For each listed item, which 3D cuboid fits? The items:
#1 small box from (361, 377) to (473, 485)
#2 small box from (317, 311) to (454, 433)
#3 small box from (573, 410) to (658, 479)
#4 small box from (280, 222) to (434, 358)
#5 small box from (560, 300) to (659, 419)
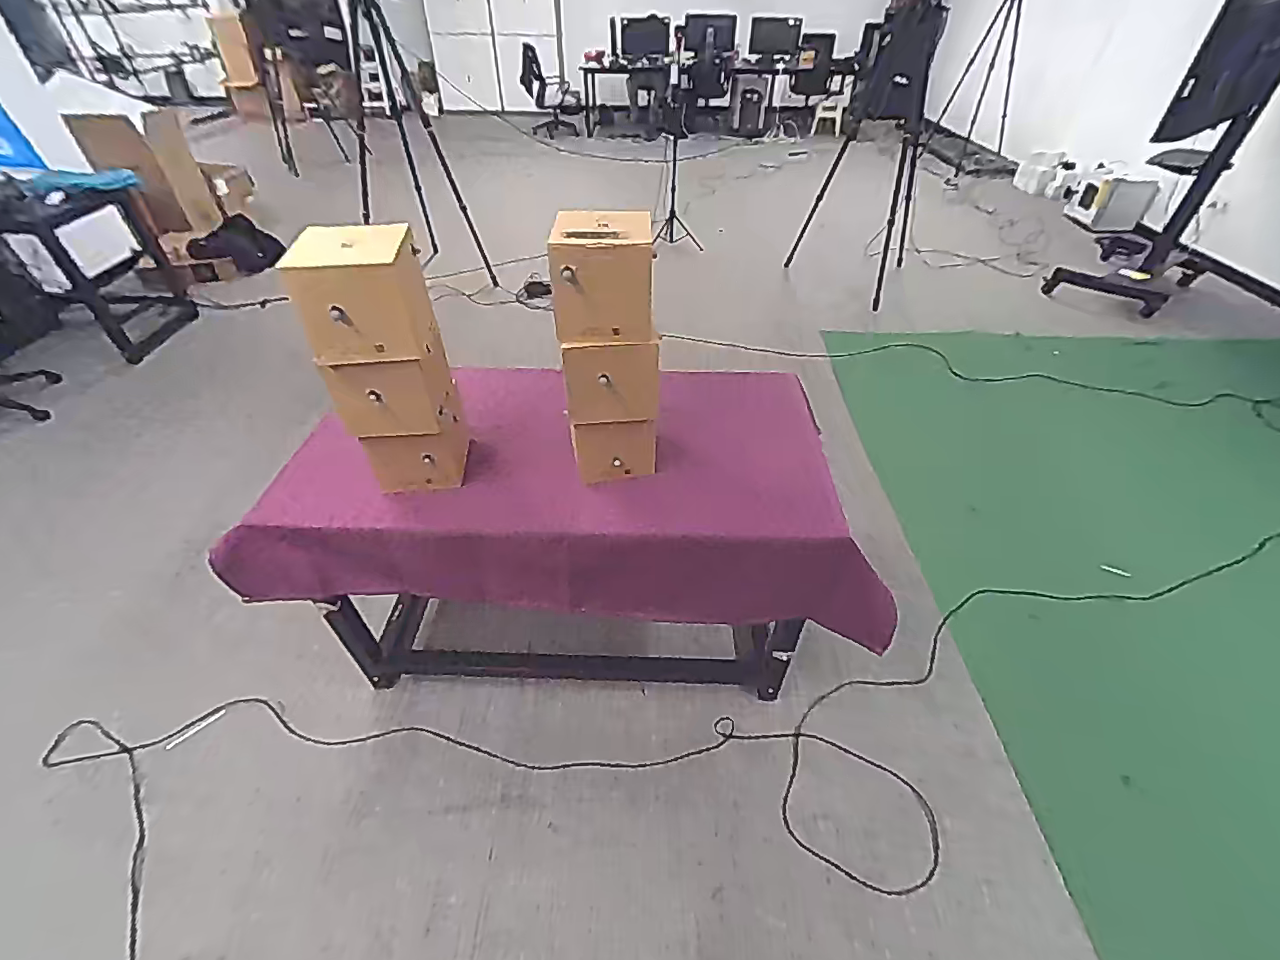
[{"bbox_3d":[-0.465,-0.102,1.157,0.168,0.176,0.179,-3,42,-4],"label":"small box"},{"bbox_3d":[-0.467,-0.204,1.027,0.179,0.176,0.168,-4,43,-4],"label":"small box"},{"bbox_3d":[-0.060,-0.126,1.176,0.168,0.176,0.179,-8,43,-7],"label":"small box"},{"bbox_3d":[-0.457,-0.315,0.909,0.168,0.176,0.179,-6,43,-7],"label":"small box"},{"bbox_3d":[-0.057,-0.232,1.051,0.179,0.176,0.168,-4,43,-4],"label":"small box"}]
